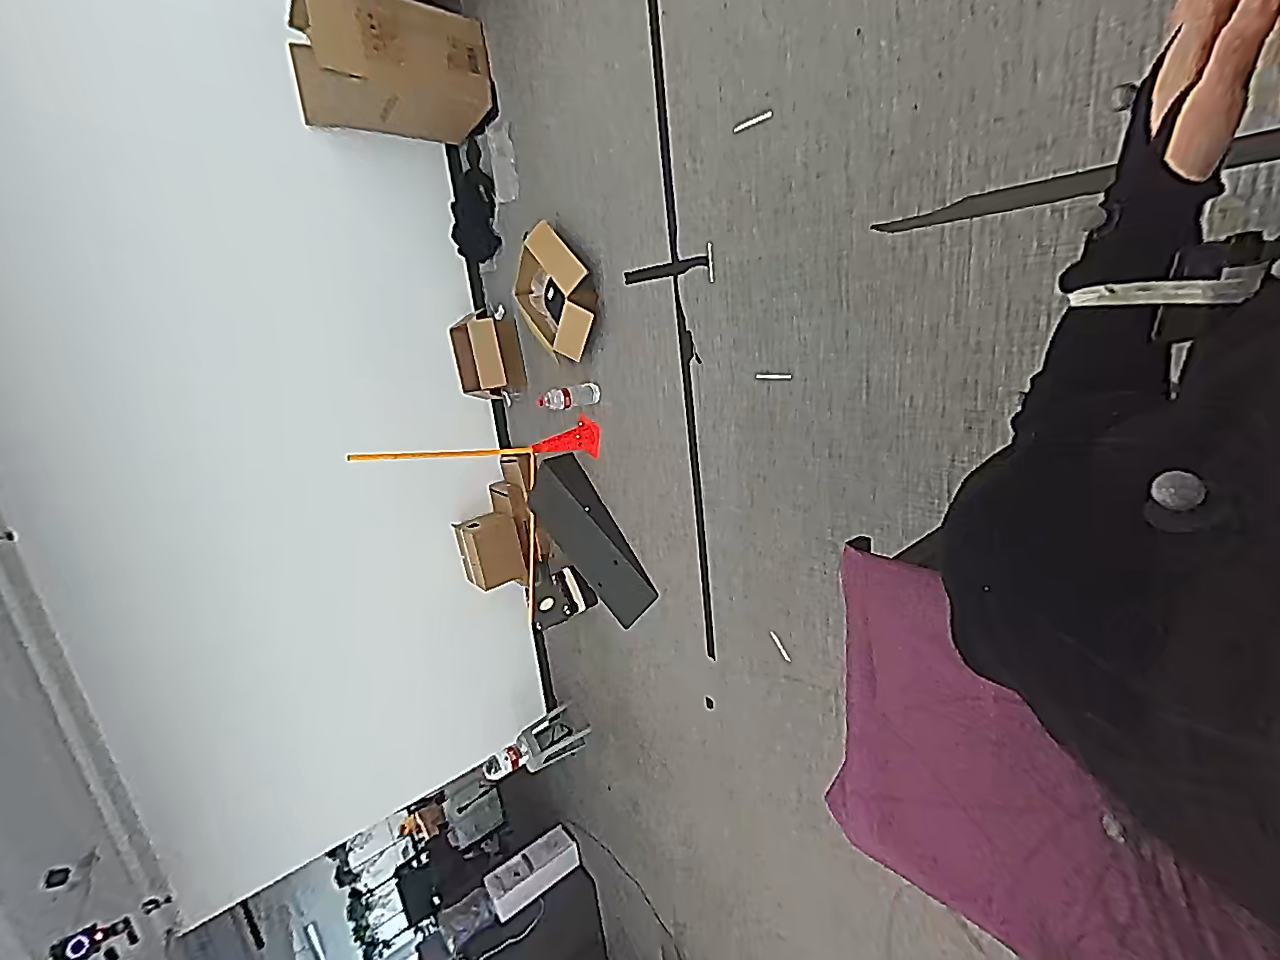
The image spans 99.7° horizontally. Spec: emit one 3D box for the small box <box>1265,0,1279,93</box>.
[{"bbox_3d":[0.384,-0.296,0.224,0.168,0.176,0.179,-2,101,52],"label":"small box"}]
